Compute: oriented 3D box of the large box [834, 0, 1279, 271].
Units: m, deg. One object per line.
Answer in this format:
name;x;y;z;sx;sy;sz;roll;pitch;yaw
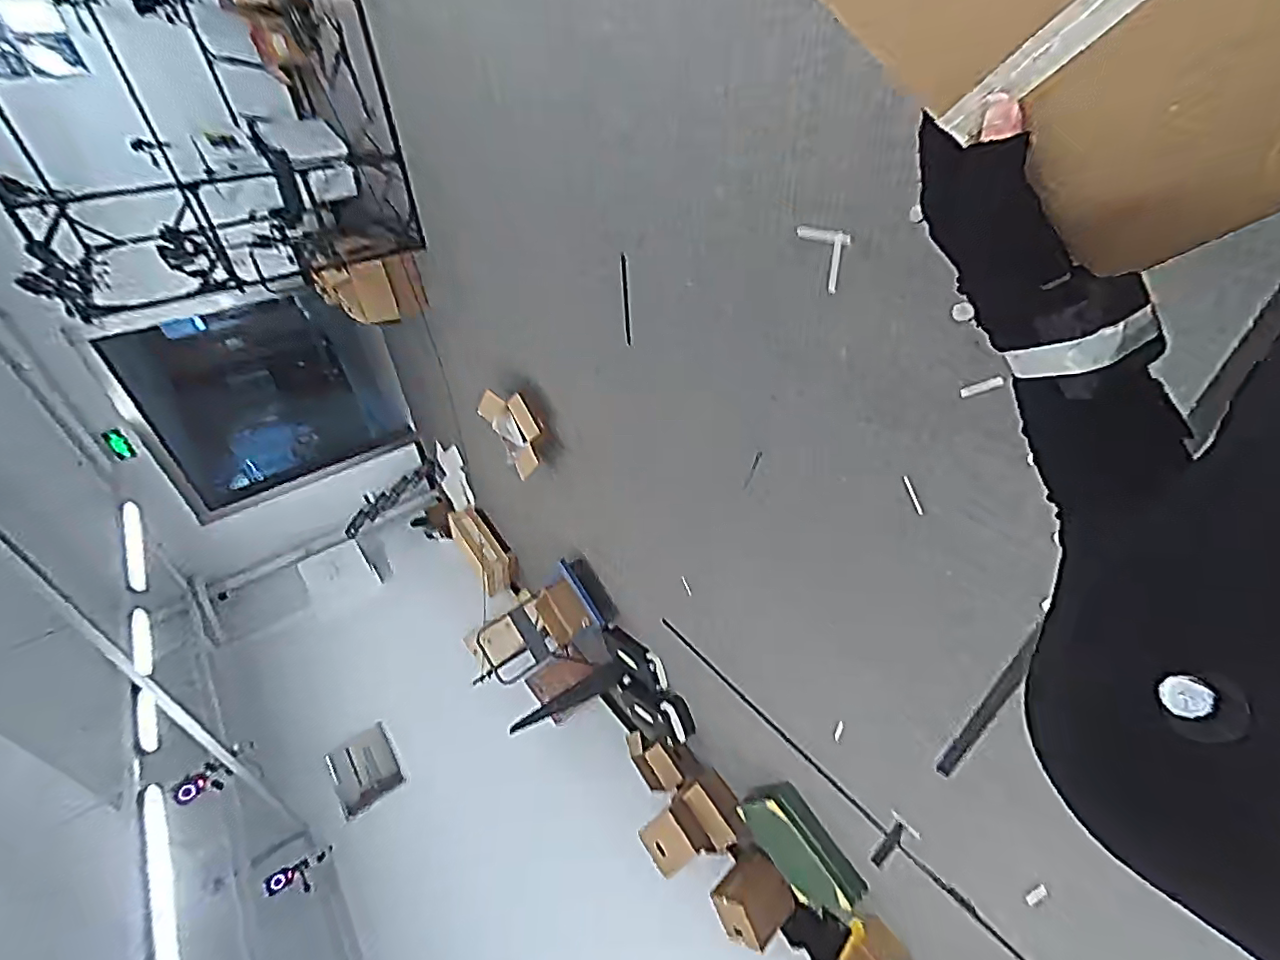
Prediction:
large box;0.331;-0.383;0.209;0.320;0.320;0.408;32;156;-17
